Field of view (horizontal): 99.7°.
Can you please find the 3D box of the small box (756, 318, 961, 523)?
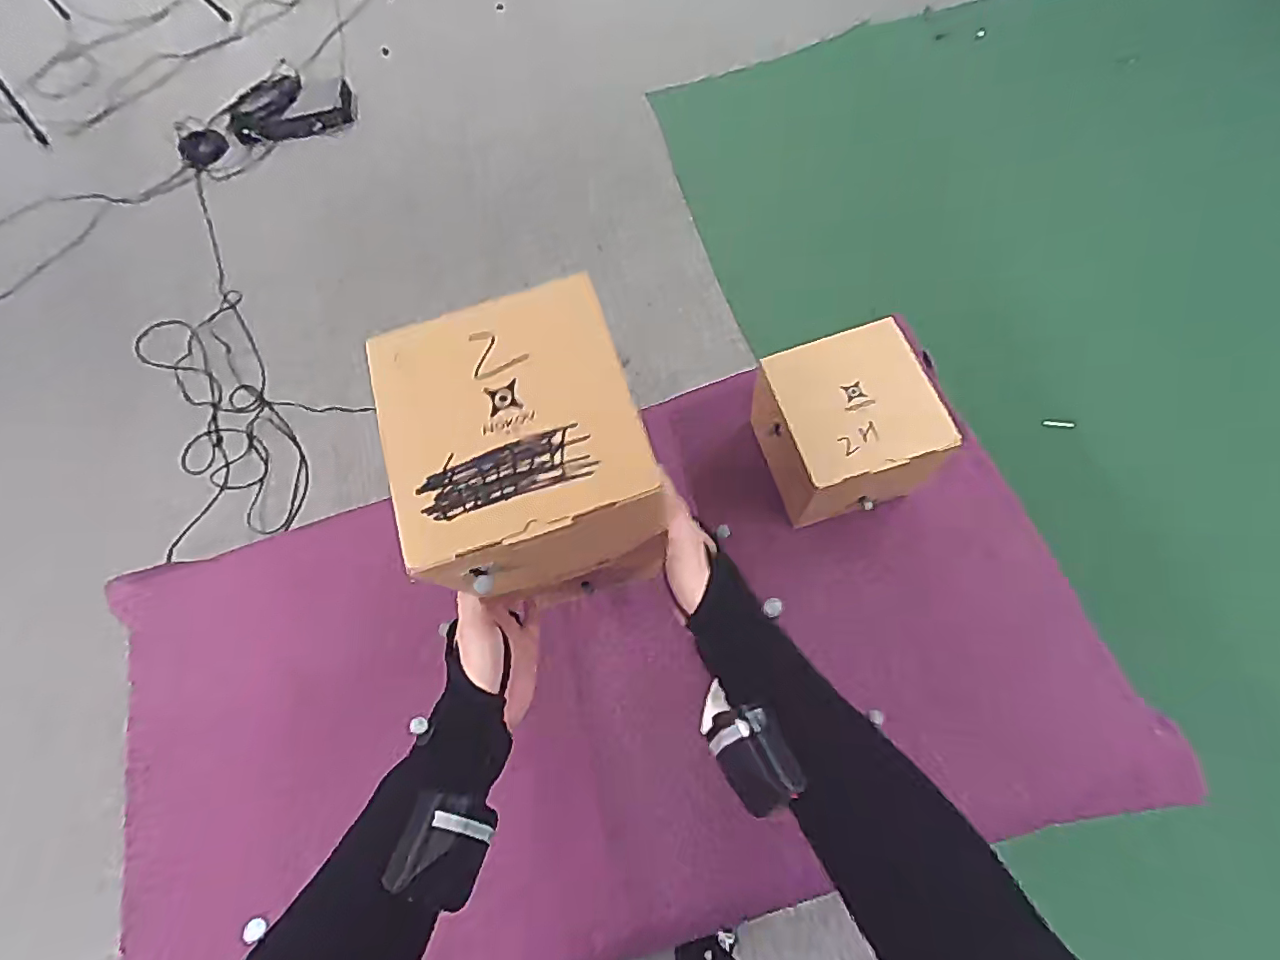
[{"bbox_3d":[0.253,-0.065,0.680,0.168,0.176,0.179,-17,70,2],"label":"small box"}]
